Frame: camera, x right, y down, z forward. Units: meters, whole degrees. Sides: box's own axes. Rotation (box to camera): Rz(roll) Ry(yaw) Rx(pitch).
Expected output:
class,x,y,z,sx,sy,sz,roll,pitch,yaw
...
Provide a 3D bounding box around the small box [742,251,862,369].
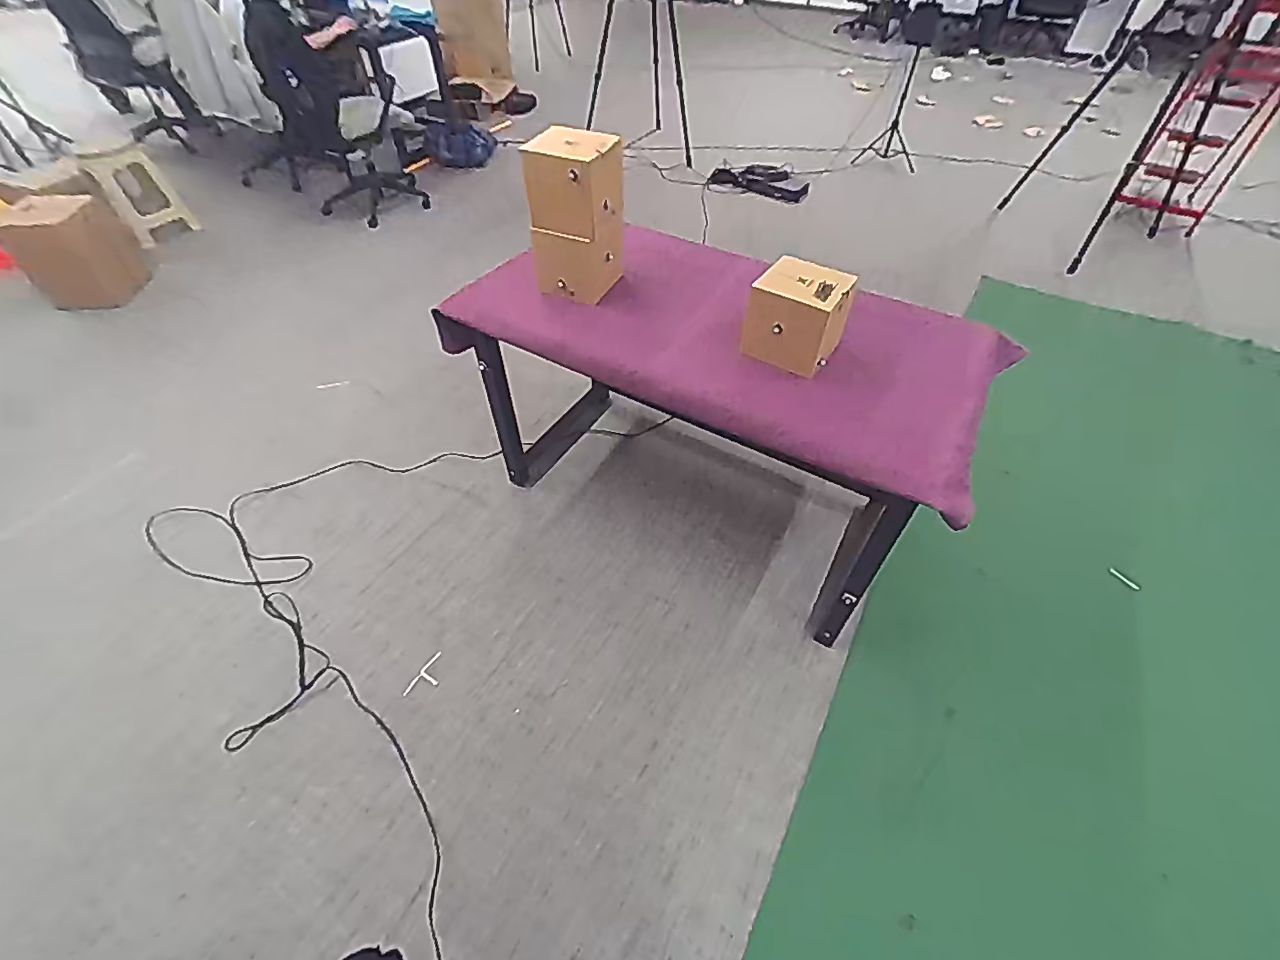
class,x,y,z,sx,sy,sz,roll,pitch,yaw
small box,0.345,-0.366,1.179,0.179,0.176,0.168,31,54,24

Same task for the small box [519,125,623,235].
class,x,y,z,sx,sy,sz,roll,pitch,yaw
small box,-0.151,-0.688,1.244,0.179,0.176,0.168,18,52,14
